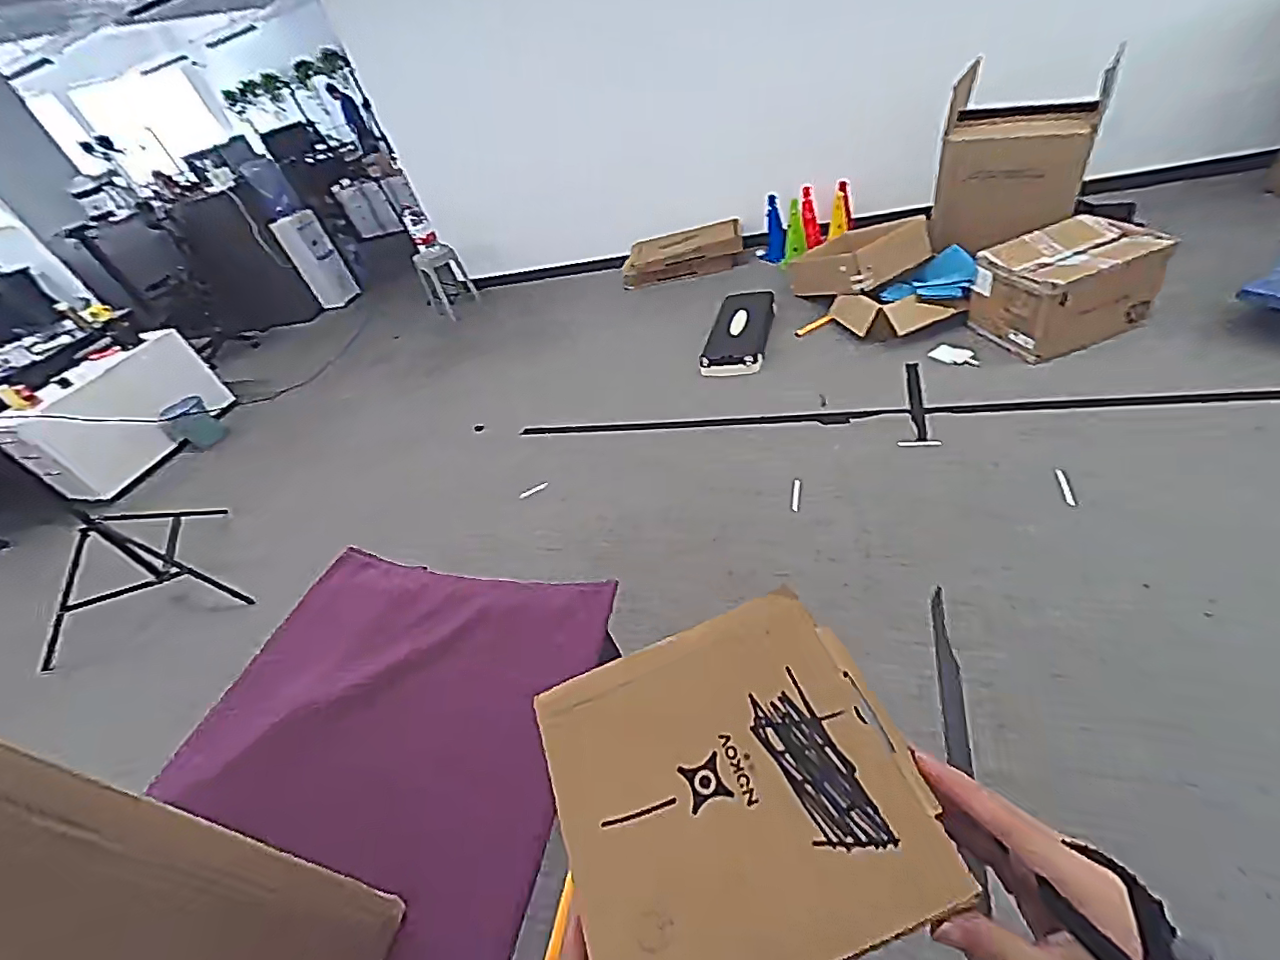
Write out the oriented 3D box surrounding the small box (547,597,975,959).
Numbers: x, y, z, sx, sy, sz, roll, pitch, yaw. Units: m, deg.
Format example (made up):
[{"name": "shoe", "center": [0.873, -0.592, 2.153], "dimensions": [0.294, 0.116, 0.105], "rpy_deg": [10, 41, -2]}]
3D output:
[{"name": "small box", "center": [0.062, 0.209, 0.348], "dimensions": [0.179, 0.176, 0.168], "rpy_deg": [-23, 50, -3]}]
